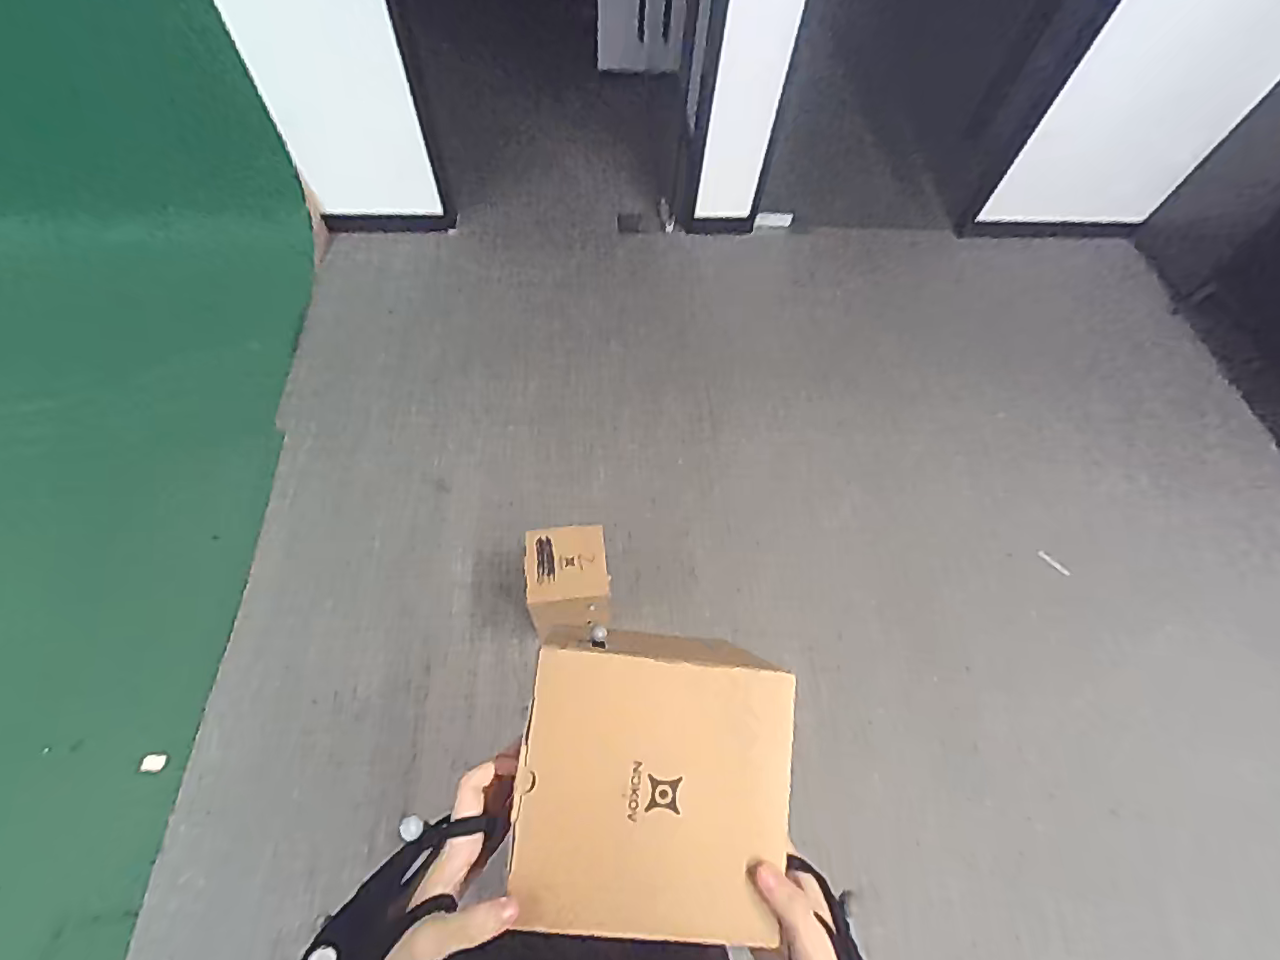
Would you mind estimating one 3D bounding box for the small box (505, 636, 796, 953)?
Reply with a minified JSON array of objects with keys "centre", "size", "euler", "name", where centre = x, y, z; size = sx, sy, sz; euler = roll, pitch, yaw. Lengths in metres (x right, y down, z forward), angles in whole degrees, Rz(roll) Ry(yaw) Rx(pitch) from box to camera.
[{"centre":[0.004,0.221,0.426],"size":[0.179,0.176,0.168],"euler":[7,79,-4],"name":"small box"}]
